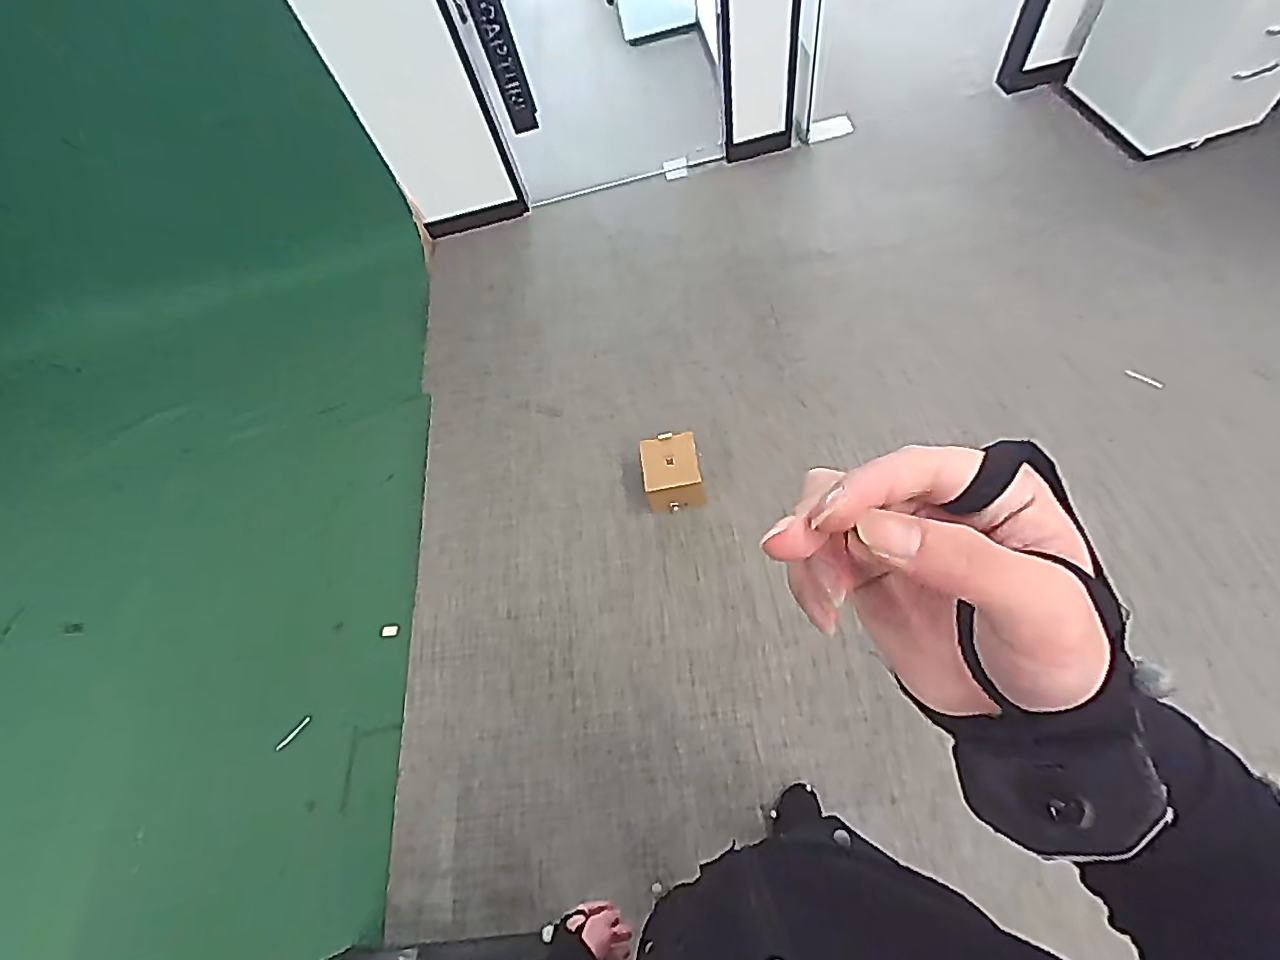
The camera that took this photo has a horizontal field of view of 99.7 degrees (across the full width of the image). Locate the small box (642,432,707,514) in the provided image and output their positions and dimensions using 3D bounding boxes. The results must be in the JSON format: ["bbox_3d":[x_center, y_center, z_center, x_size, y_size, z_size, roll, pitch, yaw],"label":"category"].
[{"bbox_3d":[0.105,-0.018,1.636,0.168,0.176,0.179,-10,61,9],"label":"small box"}]
